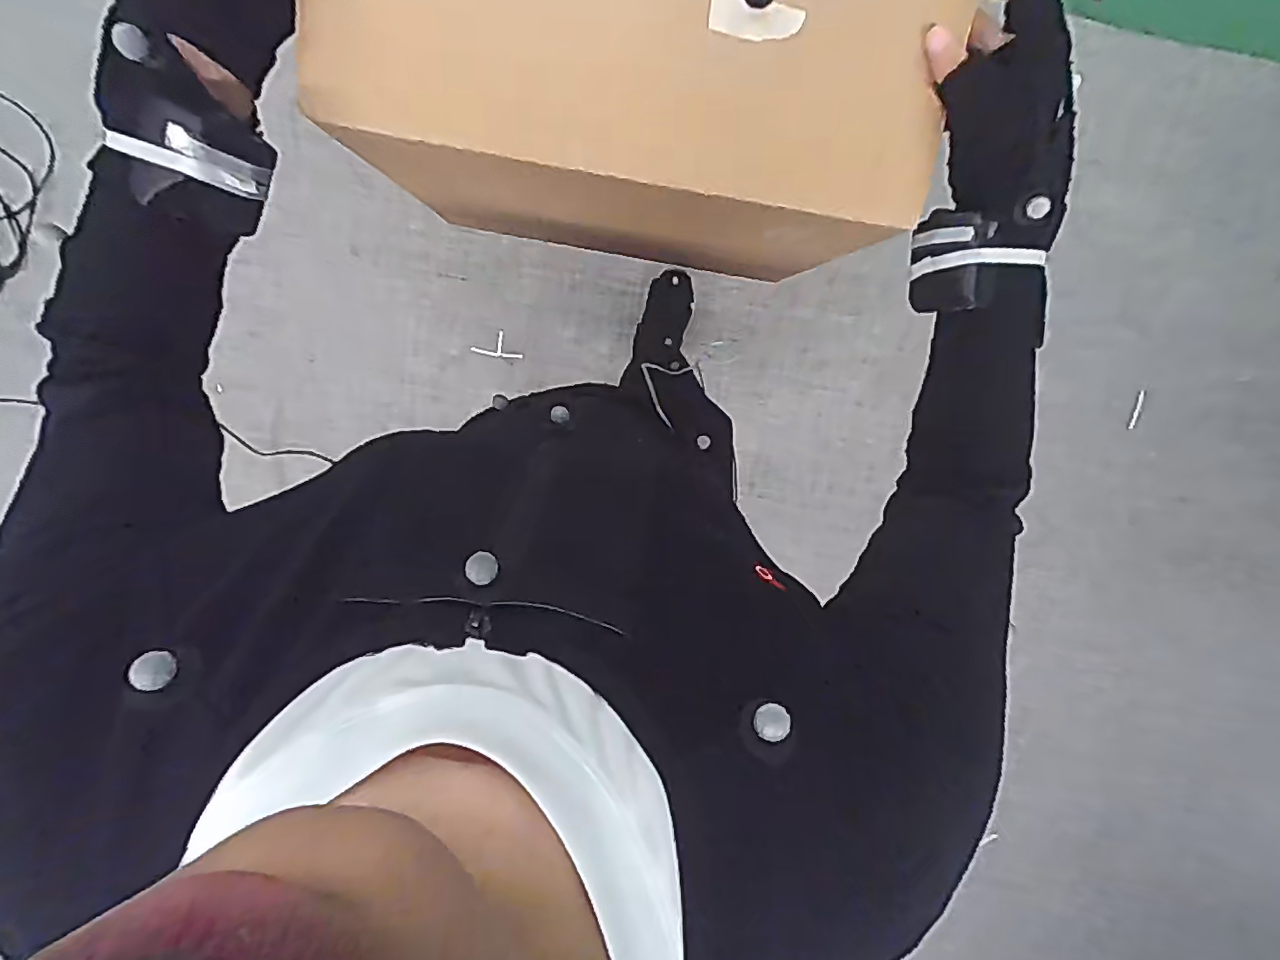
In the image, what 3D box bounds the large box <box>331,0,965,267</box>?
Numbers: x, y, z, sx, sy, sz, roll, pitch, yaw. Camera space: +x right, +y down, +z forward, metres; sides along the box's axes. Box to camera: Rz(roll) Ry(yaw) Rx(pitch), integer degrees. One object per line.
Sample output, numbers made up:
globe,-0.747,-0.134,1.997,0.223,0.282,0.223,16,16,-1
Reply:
large box,0.009,-0.393,0.472,0.408,0.320,0.320,7,104,-5
